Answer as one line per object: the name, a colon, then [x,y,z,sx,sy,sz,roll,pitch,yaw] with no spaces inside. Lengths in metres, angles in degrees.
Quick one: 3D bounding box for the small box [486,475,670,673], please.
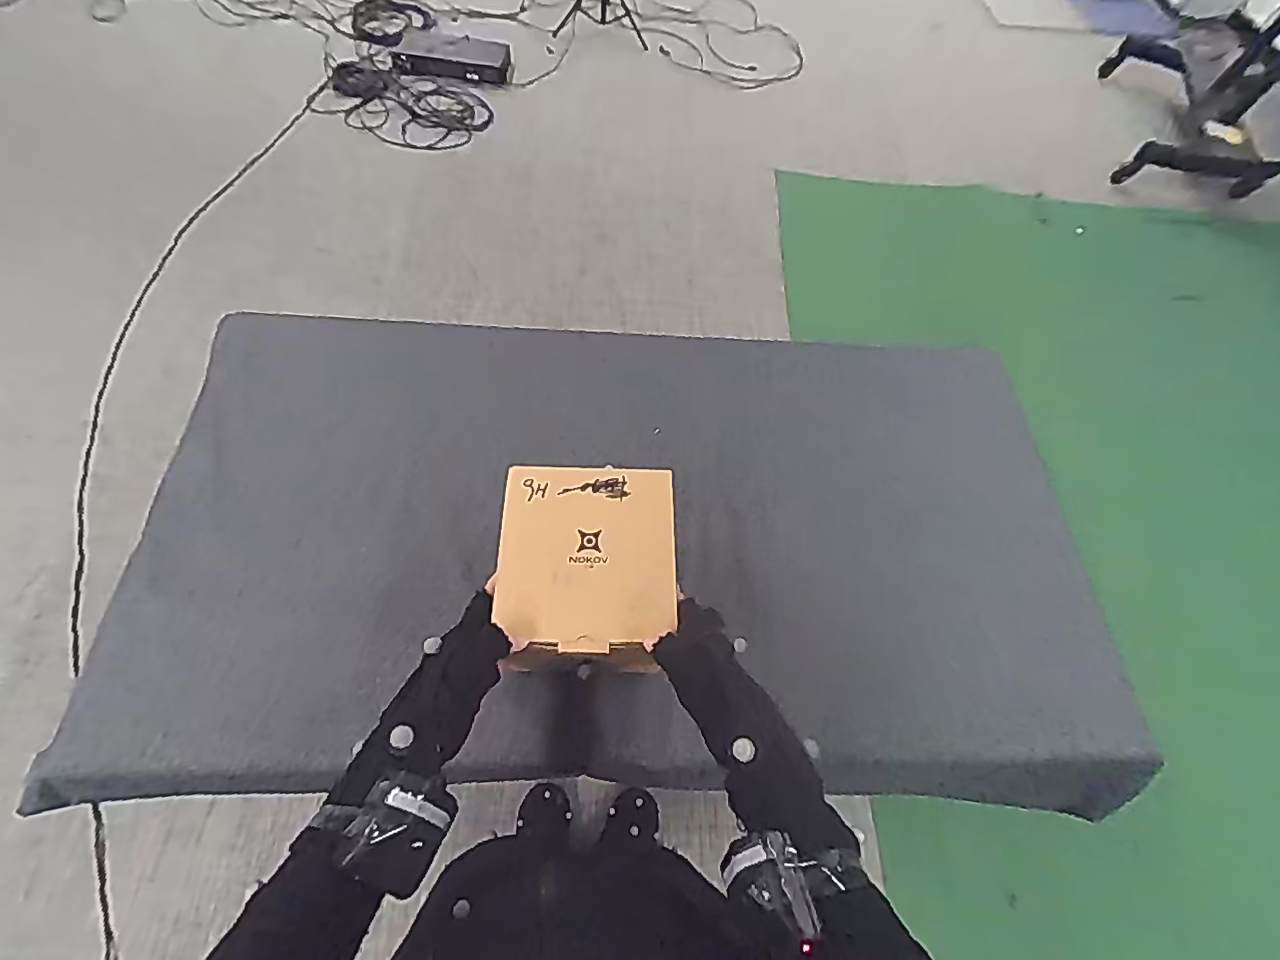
small box: [-0.058,0.110,0.581,0.168,0.176,0.179,2,64,-4]
